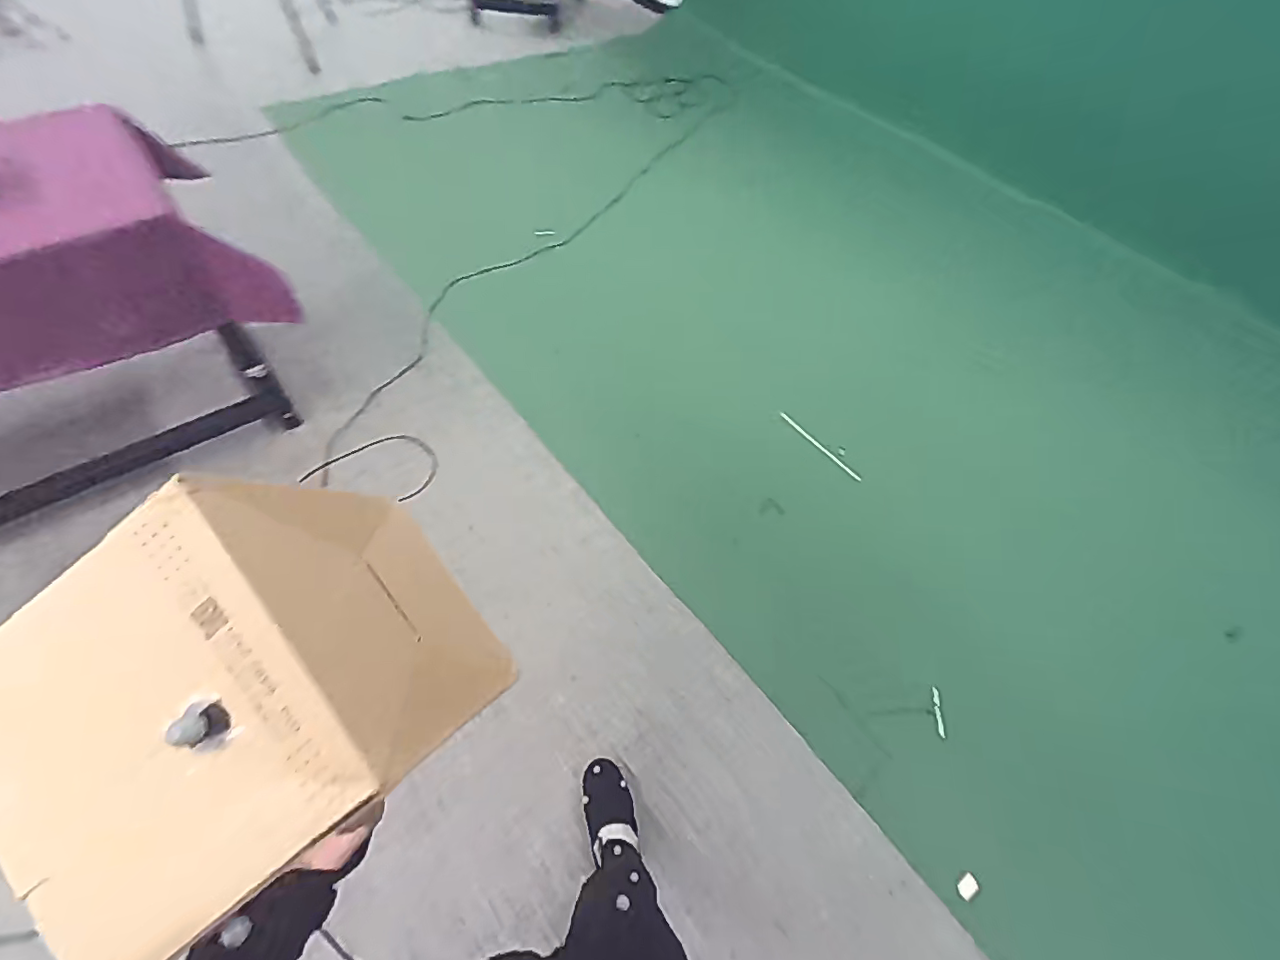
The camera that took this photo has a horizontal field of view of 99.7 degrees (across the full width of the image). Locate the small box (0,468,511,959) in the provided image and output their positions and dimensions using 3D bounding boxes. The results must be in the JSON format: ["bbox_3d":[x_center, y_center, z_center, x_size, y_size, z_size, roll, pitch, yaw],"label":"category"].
[{"bbox_3d":[-0.206,0.111,0.324,0.176,0.179,0.168,-40,83,1],"label":"small box"}]
